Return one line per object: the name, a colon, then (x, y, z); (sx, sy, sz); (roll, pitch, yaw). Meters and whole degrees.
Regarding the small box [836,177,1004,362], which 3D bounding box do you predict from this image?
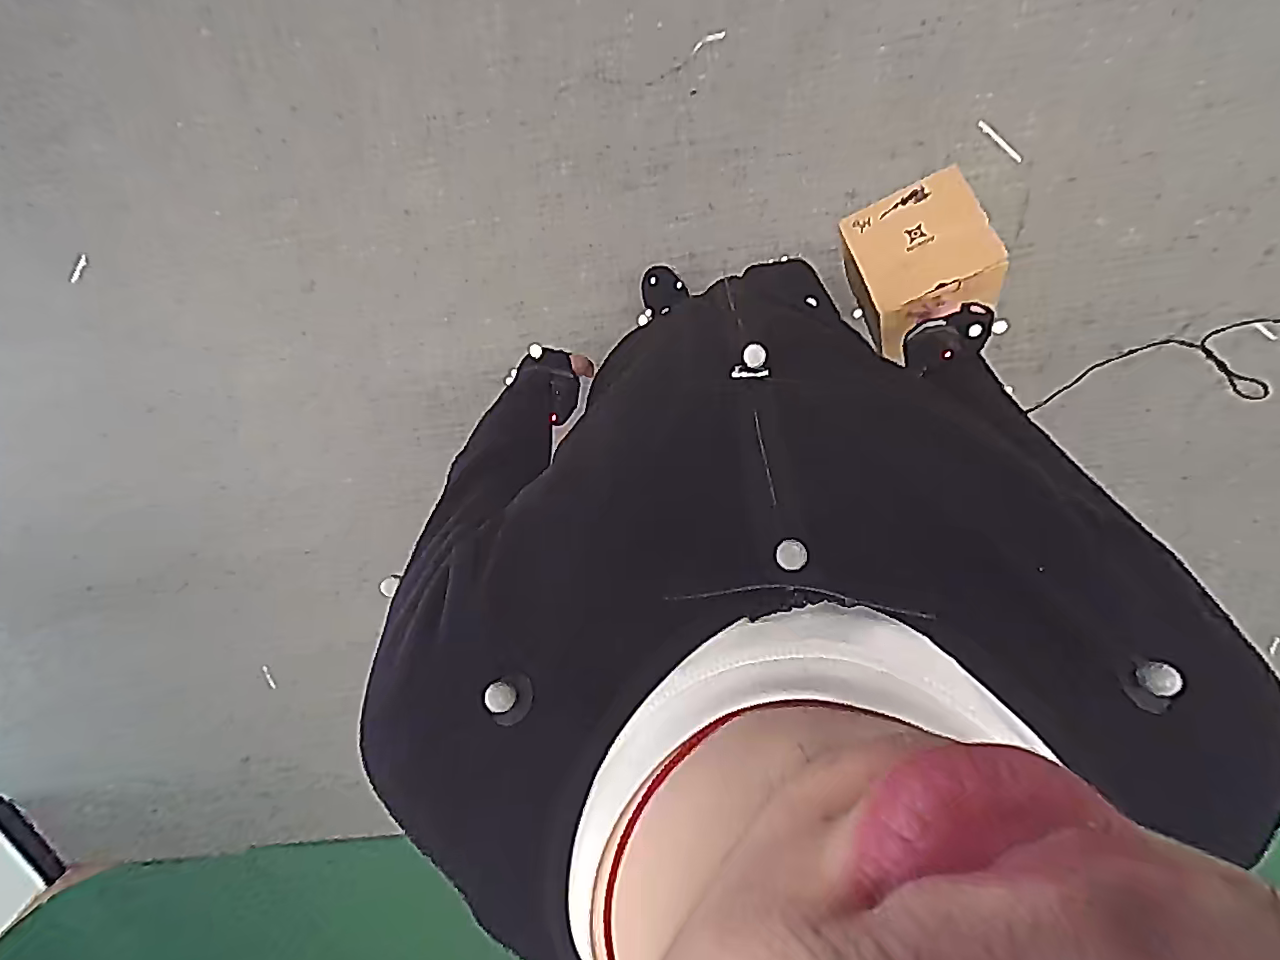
small box: (0.424, -0.303, 0.827); (0.168, 0.176, 0.179); (-24, 67, 22)
